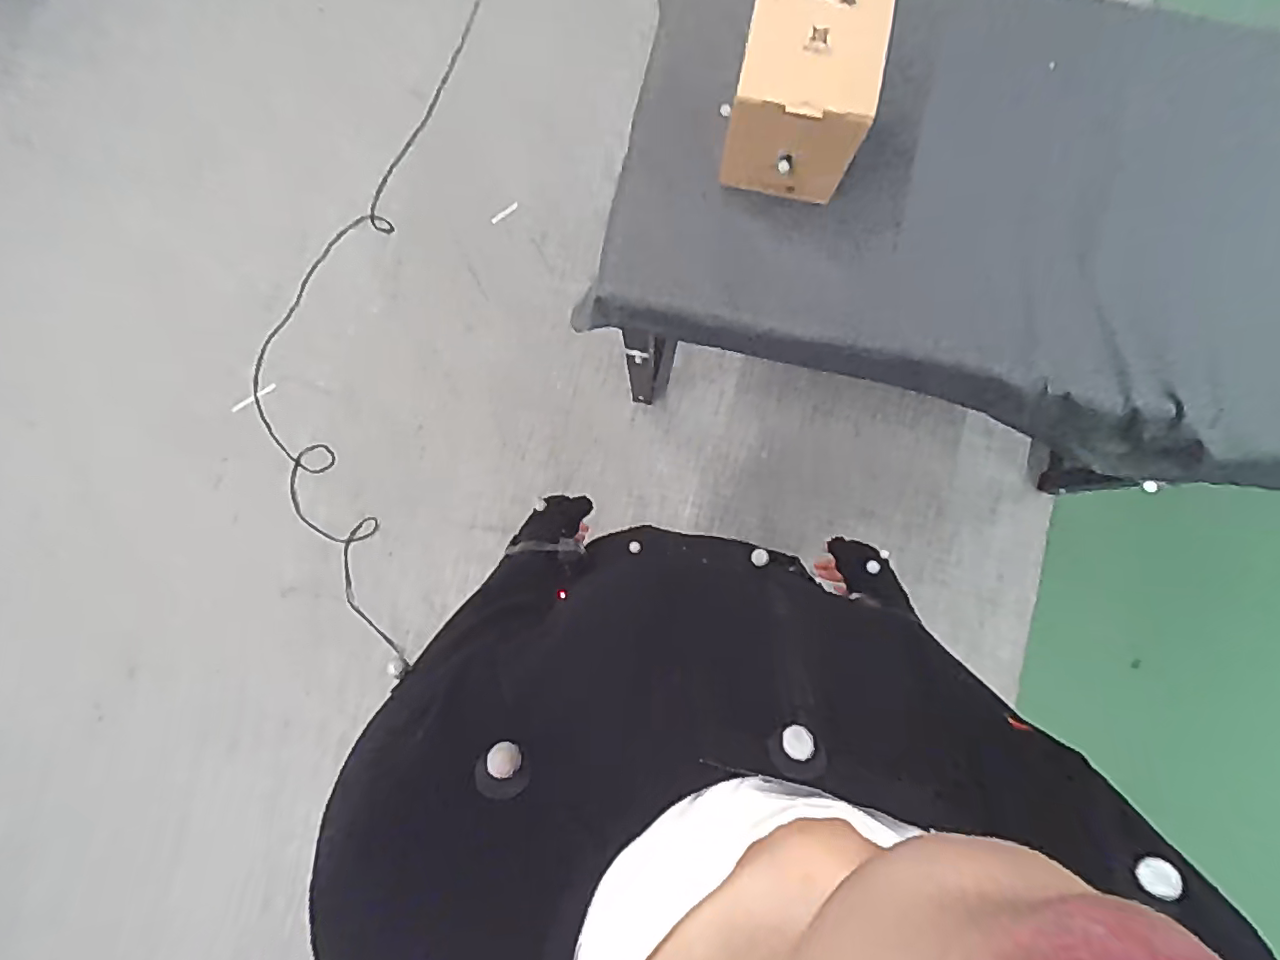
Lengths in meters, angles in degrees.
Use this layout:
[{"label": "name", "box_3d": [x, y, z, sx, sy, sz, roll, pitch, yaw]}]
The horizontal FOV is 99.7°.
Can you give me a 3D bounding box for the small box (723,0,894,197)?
[{"label": "small box", "box_3d": [0.212, -0.516, 0.726, 0.168, 0.176, 0.179, 12, 86, 2]}]
